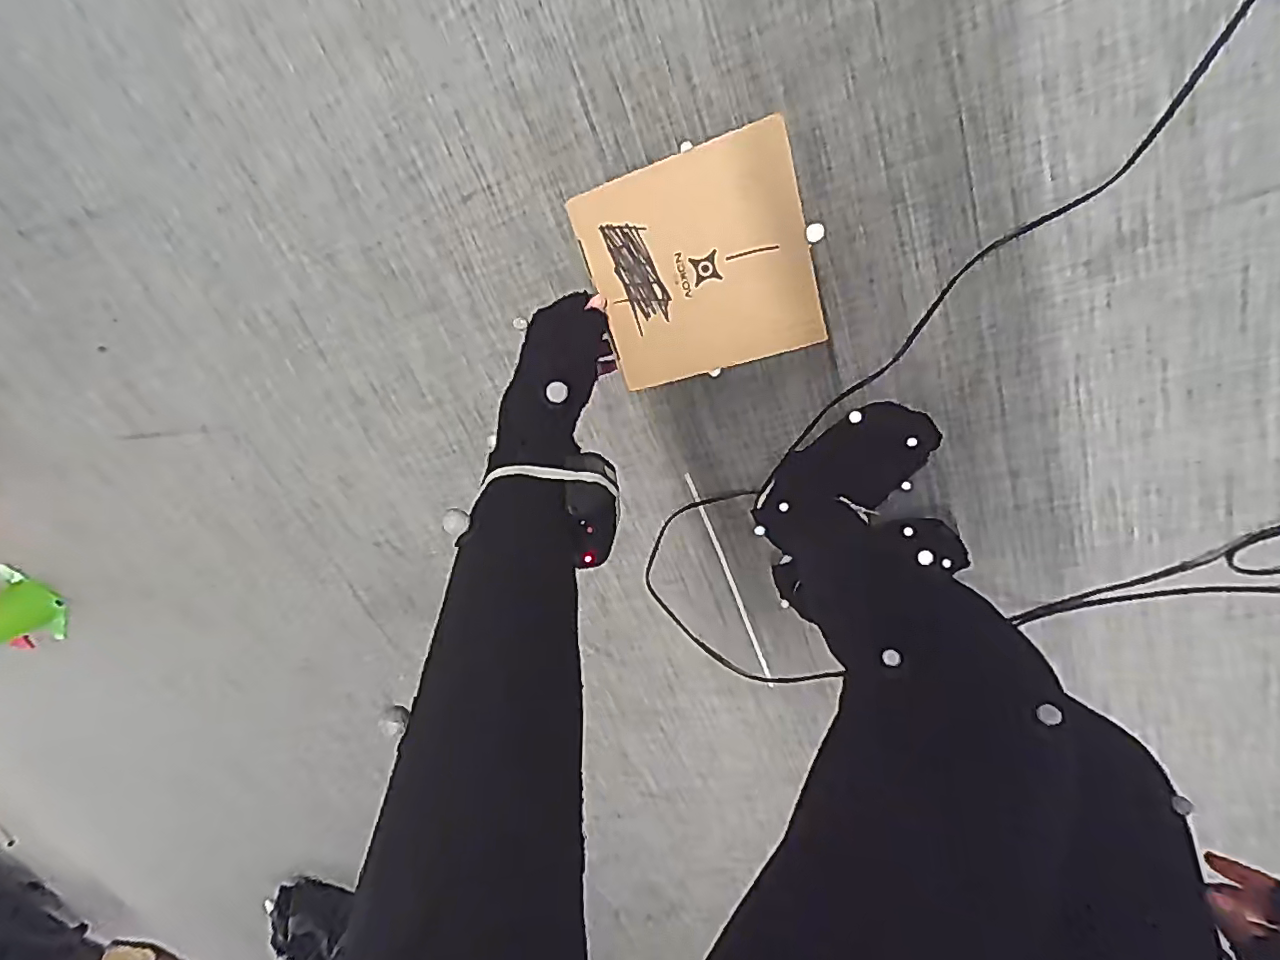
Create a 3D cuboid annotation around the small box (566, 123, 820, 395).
[{"bbox_3d":[0.061,-0.196,0.501,0.179,0.176,0.168,-11,112,19],"label":"small box"}]
